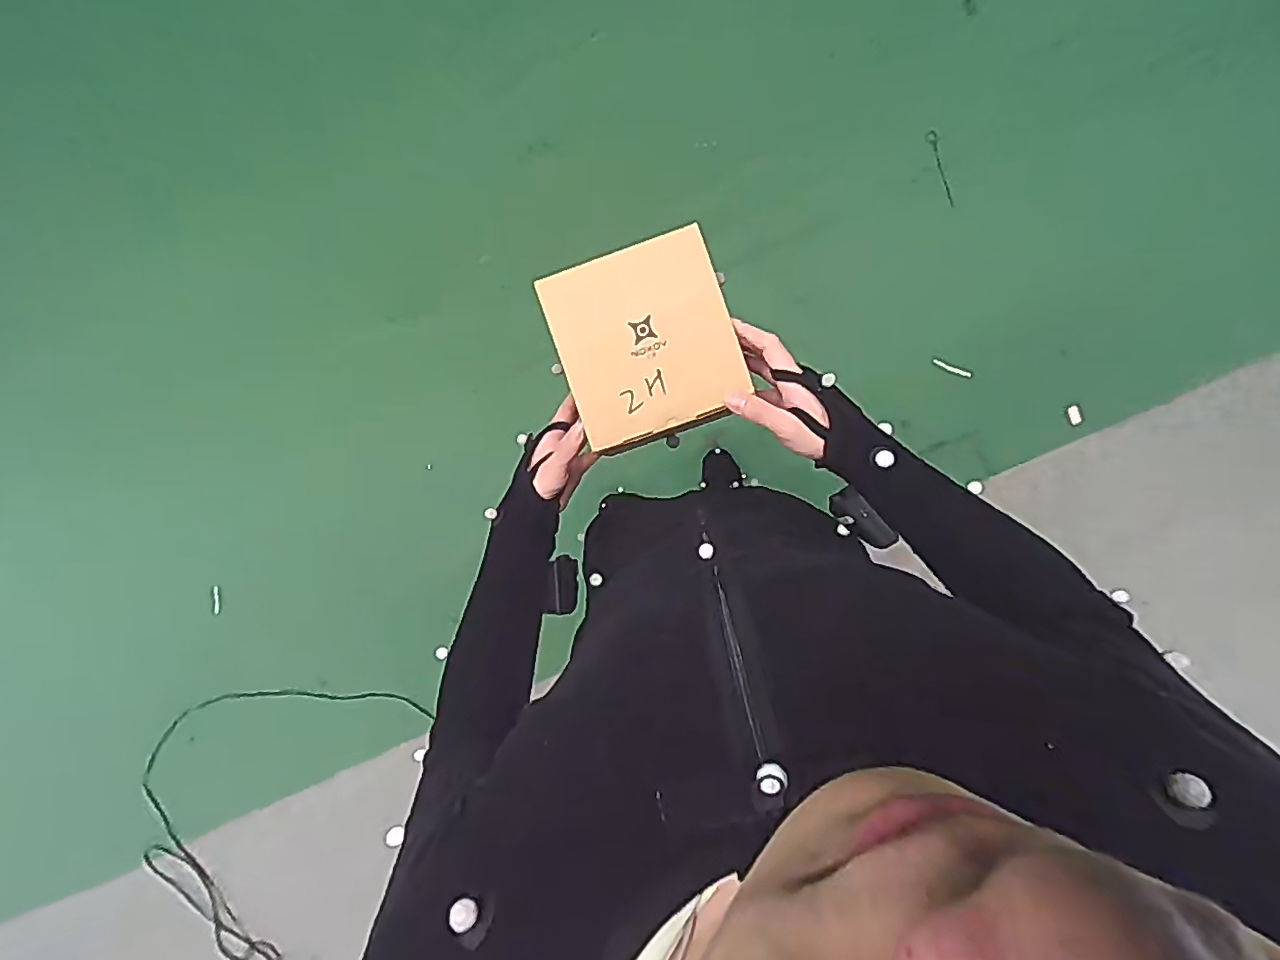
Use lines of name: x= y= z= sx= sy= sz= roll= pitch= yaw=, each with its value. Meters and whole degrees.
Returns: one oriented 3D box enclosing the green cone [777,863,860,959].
green cone: x=0.527 y=1.281 z=1.466 sx=0.202 sy=0.368 sz=0.200 roll=-25 pitch=91 yaw=5
